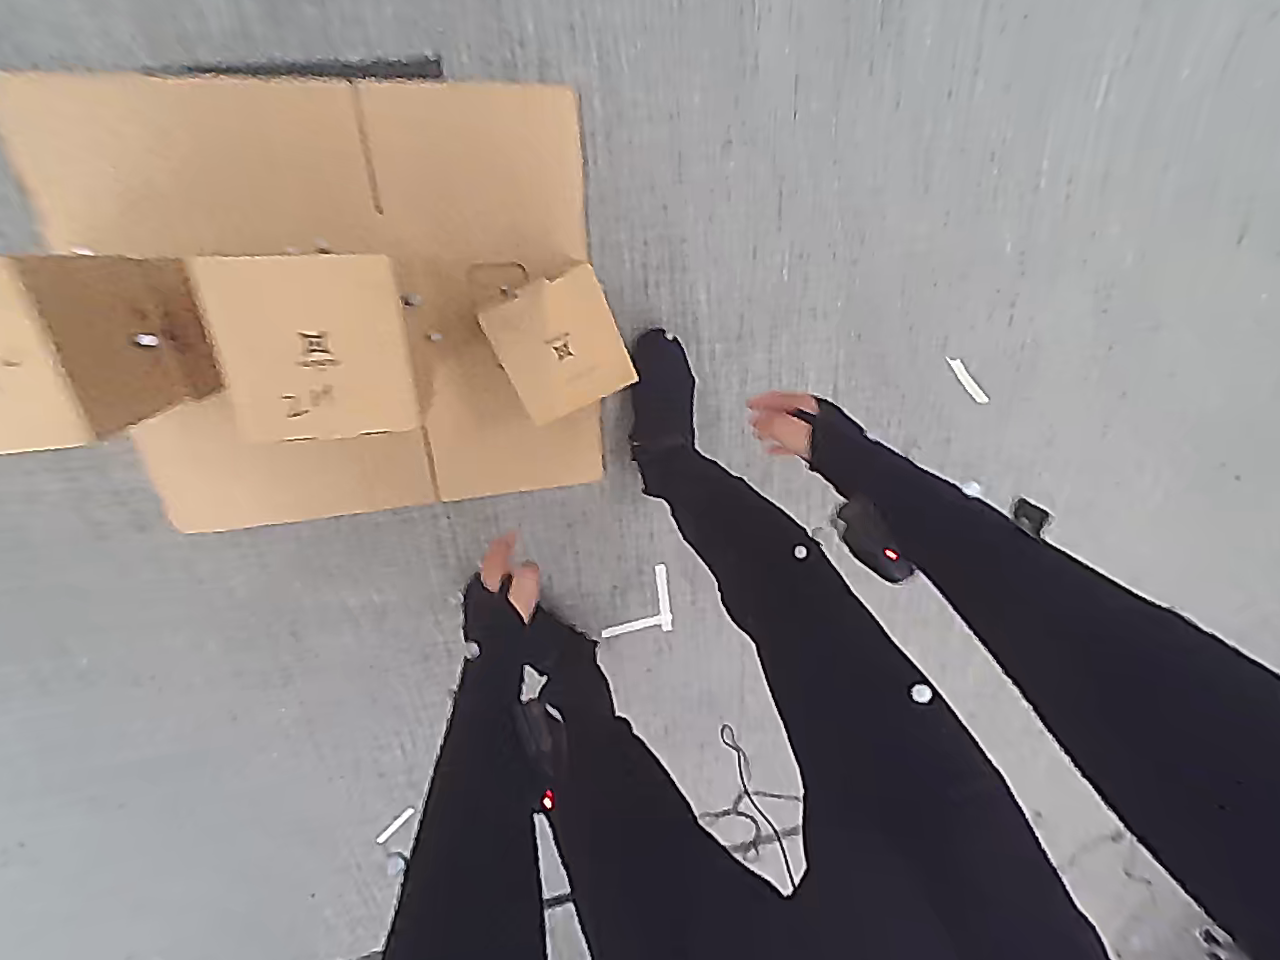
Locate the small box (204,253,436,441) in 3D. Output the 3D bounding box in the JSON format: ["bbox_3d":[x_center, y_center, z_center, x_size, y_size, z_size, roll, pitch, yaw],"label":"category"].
[{"bbox_3d":[-0.329,-0.156,0.599,0.168,0.176,0.179,-6,114,-13],"label":"small box"}]

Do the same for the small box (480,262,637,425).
[{"bbox_3d":[-0.125,-0.210,0.816,0.168,0.176,0.179,-26,116,-3],"label":"small box"}]

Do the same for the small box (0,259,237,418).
[{"bbox_3d":[-0.637,-0.187,0.684,0.179,0.176,0.168,-7,114,-11],"label":"small box"}]
